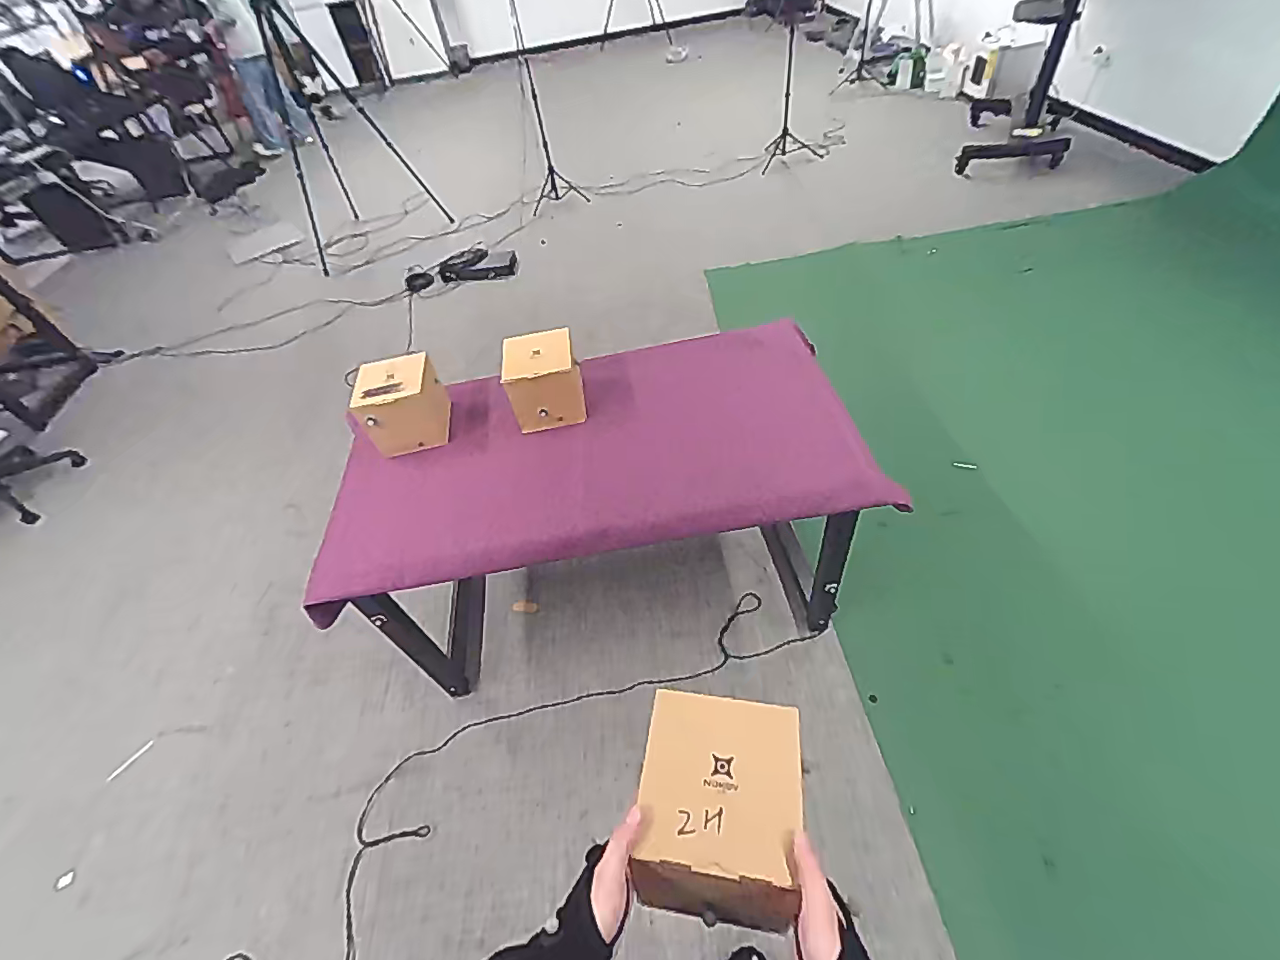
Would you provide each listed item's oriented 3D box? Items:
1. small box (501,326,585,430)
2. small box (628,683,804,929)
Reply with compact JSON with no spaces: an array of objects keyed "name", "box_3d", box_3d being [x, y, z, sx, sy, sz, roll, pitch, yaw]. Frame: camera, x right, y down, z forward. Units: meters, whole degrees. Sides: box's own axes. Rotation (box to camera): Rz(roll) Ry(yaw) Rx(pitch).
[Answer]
[{"name":"small box","box_3d":[-0.236,-0.250,1.339,0.168,0.176,0.179,-11,49,0]},{"name":"small box","box_3d":[0.087,0.362,0.609,0.168,0.176,0.179,4,40,11]}]
